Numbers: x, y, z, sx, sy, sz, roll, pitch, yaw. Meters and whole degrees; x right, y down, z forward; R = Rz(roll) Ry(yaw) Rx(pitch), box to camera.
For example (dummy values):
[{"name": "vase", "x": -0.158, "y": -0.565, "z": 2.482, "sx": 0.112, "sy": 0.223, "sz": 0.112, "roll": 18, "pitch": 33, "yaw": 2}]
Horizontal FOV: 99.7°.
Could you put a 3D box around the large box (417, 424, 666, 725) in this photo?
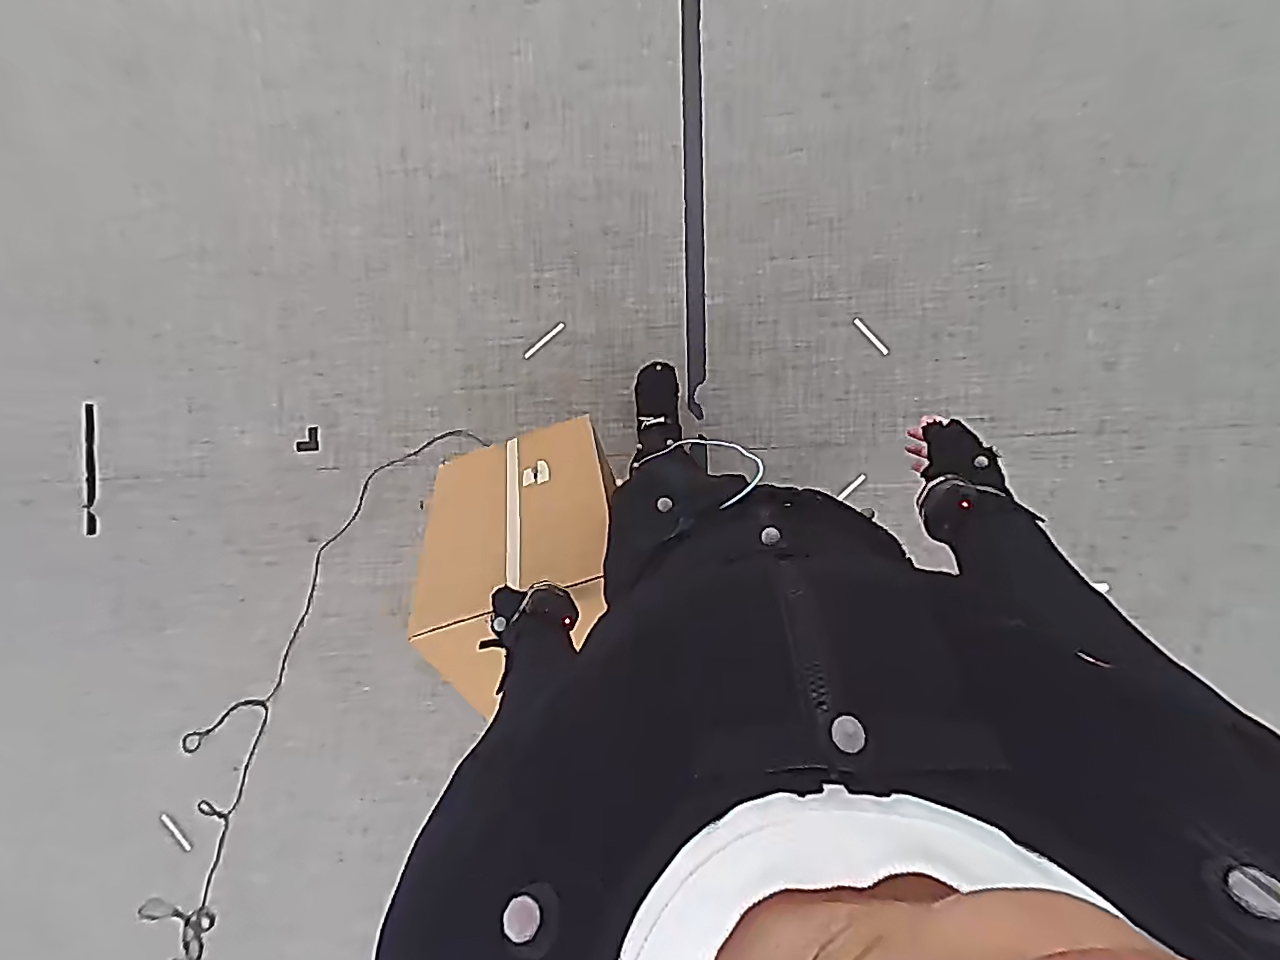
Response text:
[{"name": "large box", "x": -0.169, "y": 0.164, "z": 1.008, "sx": 0.320, "sy": 0.408, "sz": 0.320, "roll": -17, "pitch": 129, "yaw": 2}]
